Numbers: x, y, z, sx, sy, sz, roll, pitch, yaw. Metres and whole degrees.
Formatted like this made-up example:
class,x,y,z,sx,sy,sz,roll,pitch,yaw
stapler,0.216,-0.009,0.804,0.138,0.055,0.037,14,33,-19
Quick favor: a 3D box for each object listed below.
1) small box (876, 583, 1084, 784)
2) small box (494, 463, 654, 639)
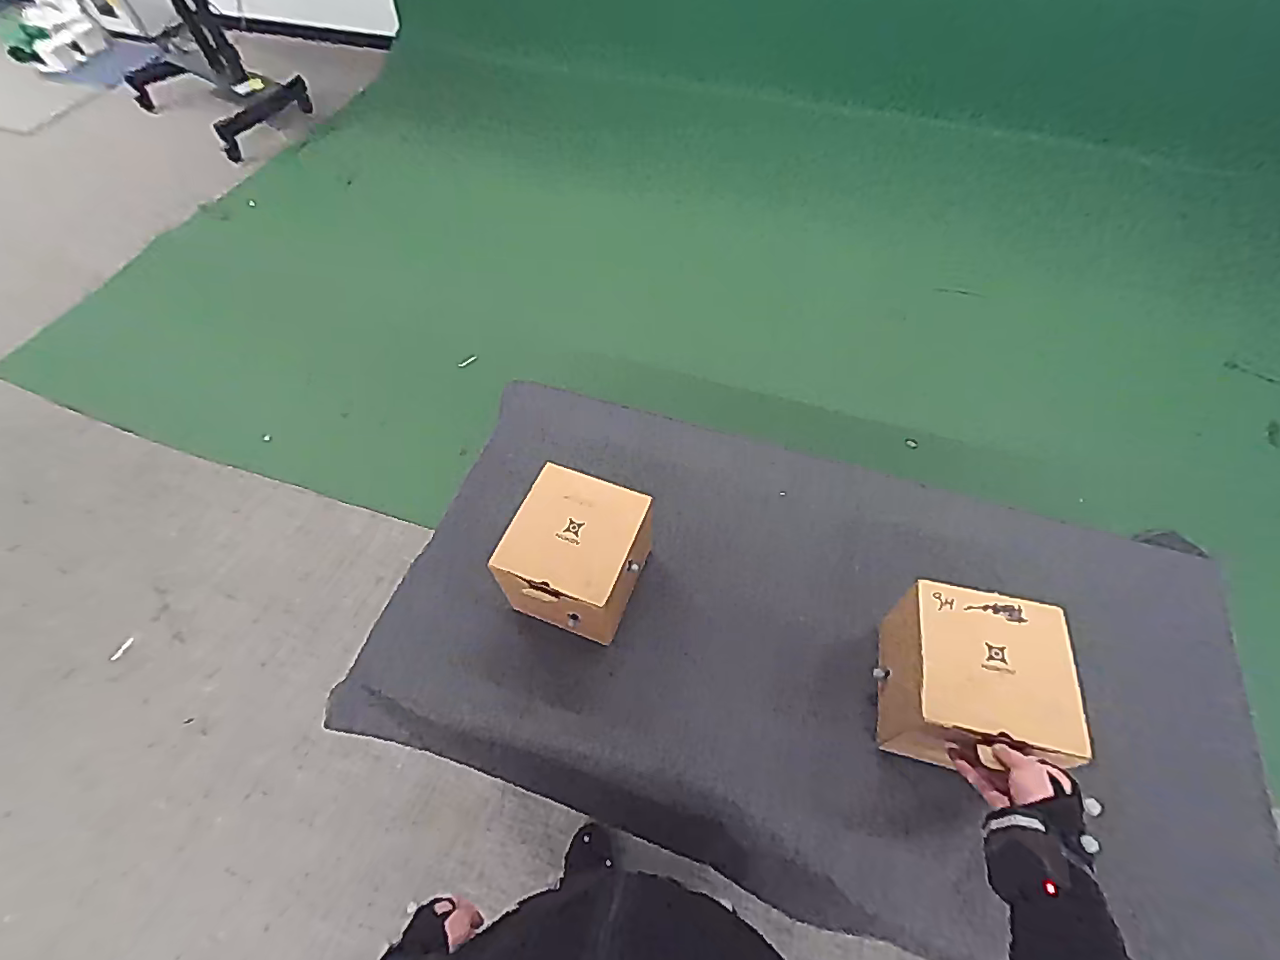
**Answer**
class,x,y,z,sx,sy,sz,roll,pitch,yaw
small box,0.409,0.261,0.683,0.168,0.176,0.179,12,54,12
small box,-0.086,0.110,0.796,0.168,0.176,0.179,19,58,11
